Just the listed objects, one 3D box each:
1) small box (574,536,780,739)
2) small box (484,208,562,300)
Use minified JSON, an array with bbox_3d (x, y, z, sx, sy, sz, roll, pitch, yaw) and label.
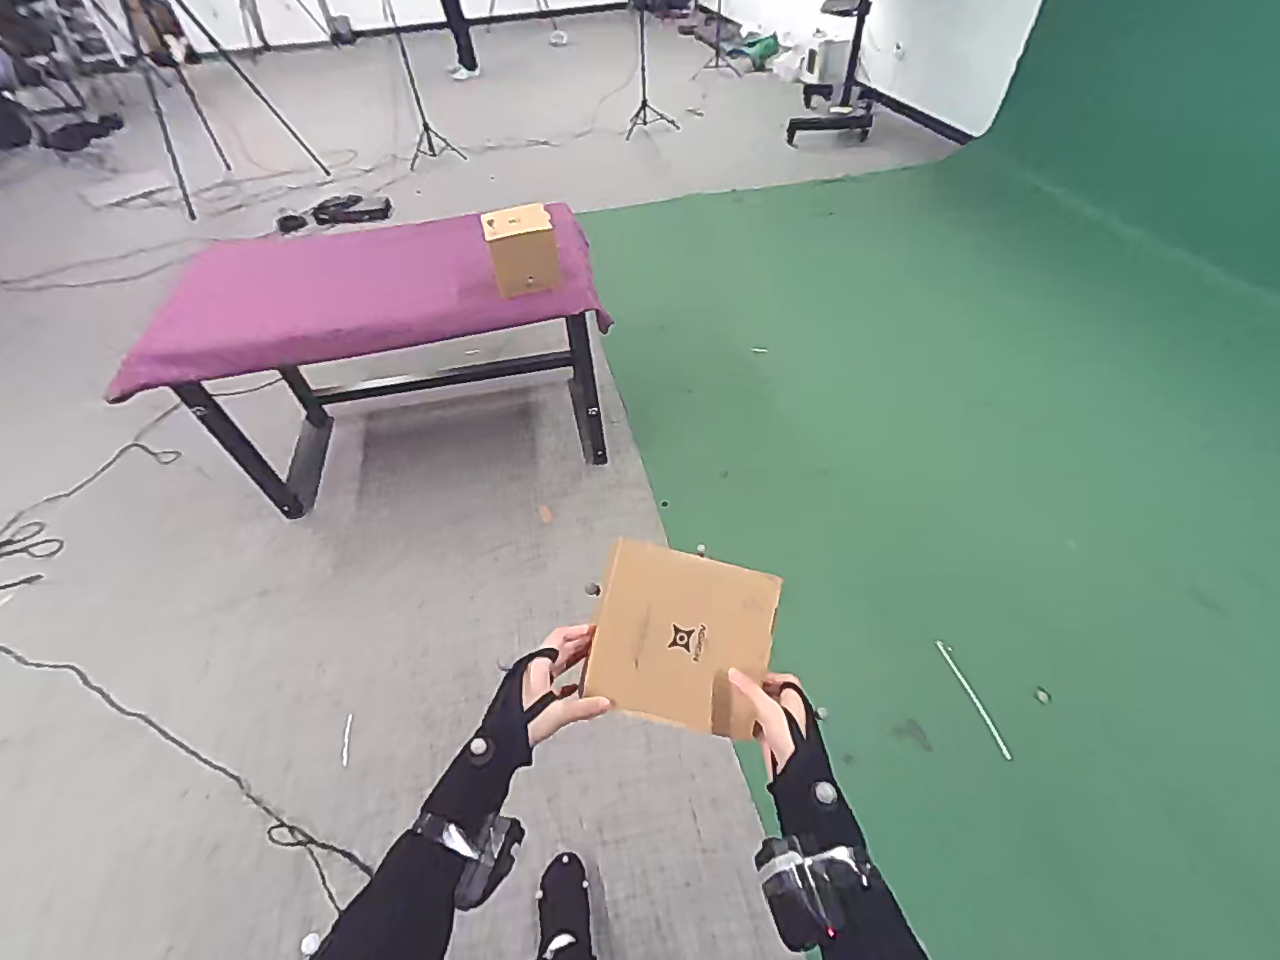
[{"bbox_3d":[0.031,0.164,0.609,0.179,0.176,0.168,15,80,-5],"label":"small box"},{"bbox_3d":[-0.320,-0.625,1.502,0.179,0.176,0.168,-14,49,-8],"label":"small box"}]
